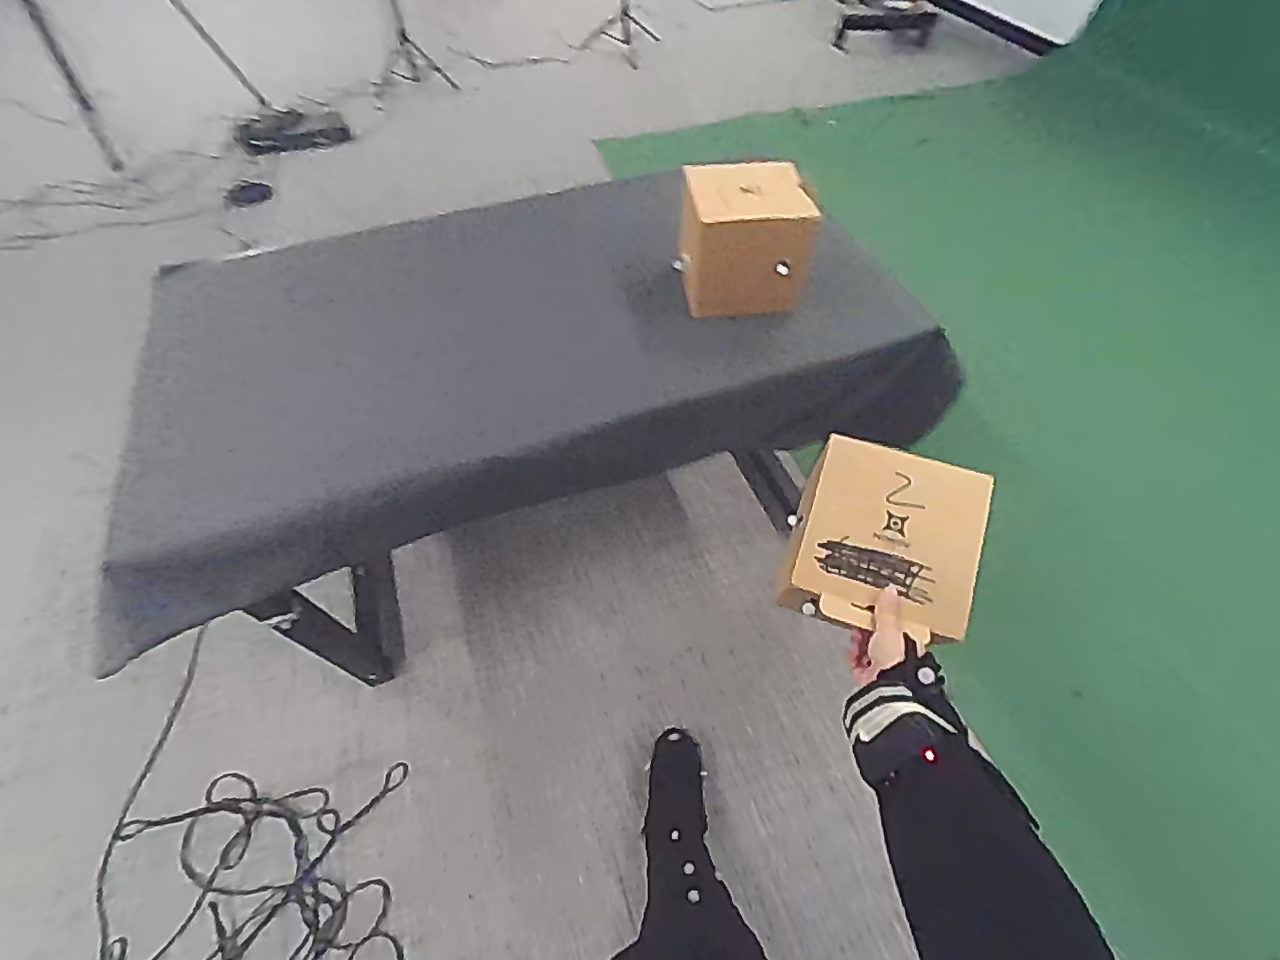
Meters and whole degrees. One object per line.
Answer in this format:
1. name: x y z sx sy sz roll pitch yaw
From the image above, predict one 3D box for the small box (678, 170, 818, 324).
1. small box: 0.163 -0.375 0.879 0.179 0.176 0.168 -6 54 -3
